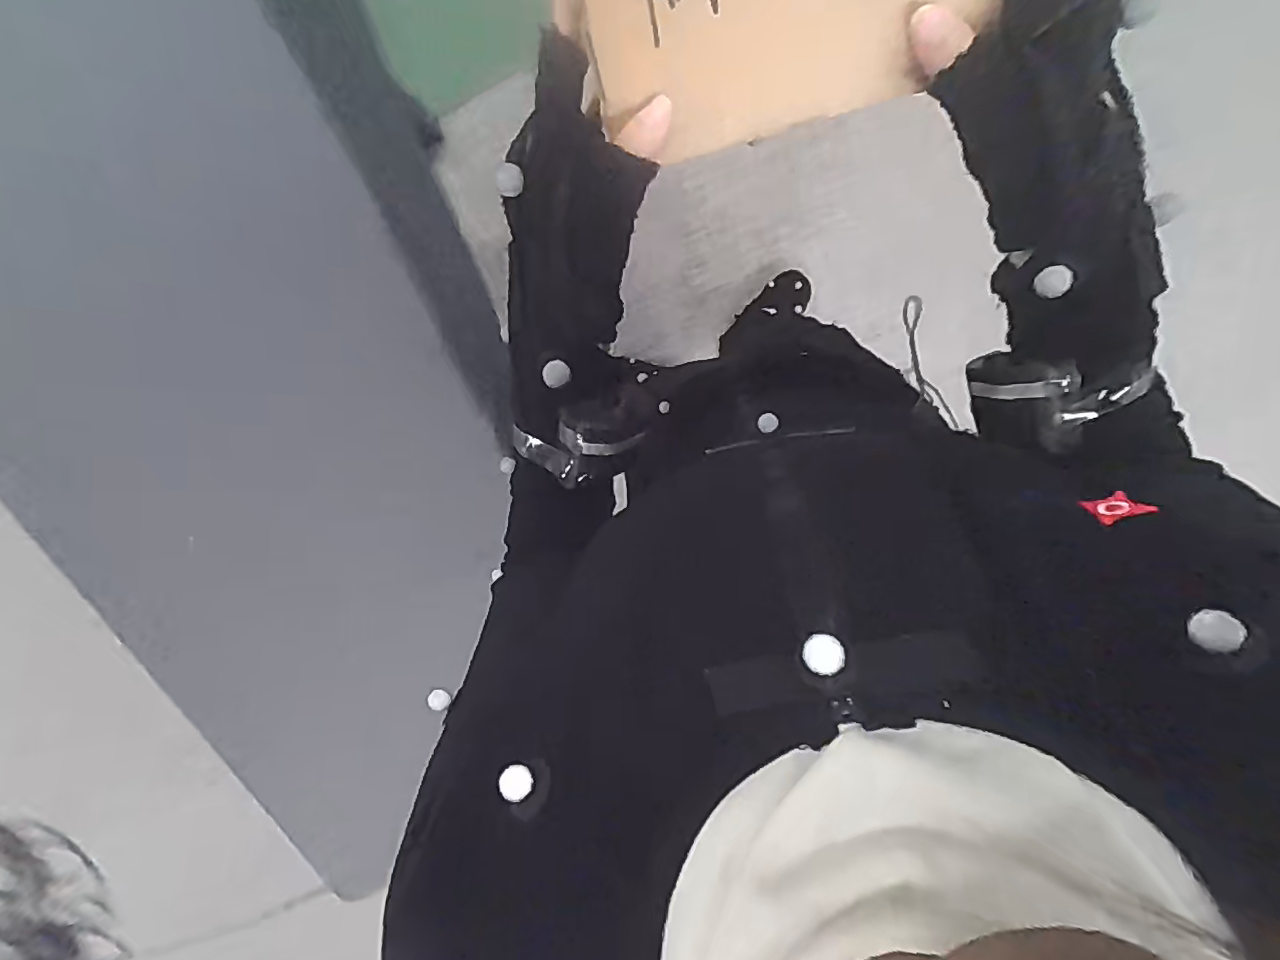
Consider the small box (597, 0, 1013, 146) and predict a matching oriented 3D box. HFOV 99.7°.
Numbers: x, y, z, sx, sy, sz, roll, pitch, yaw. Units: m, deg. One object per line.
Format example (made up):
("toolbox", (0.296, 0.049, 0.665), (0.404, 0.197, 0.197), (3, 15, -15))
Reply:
("small box", (0.059, -0.288, 0.256), (0.179, 0.176, 0.168), (-11, 135, 6))
